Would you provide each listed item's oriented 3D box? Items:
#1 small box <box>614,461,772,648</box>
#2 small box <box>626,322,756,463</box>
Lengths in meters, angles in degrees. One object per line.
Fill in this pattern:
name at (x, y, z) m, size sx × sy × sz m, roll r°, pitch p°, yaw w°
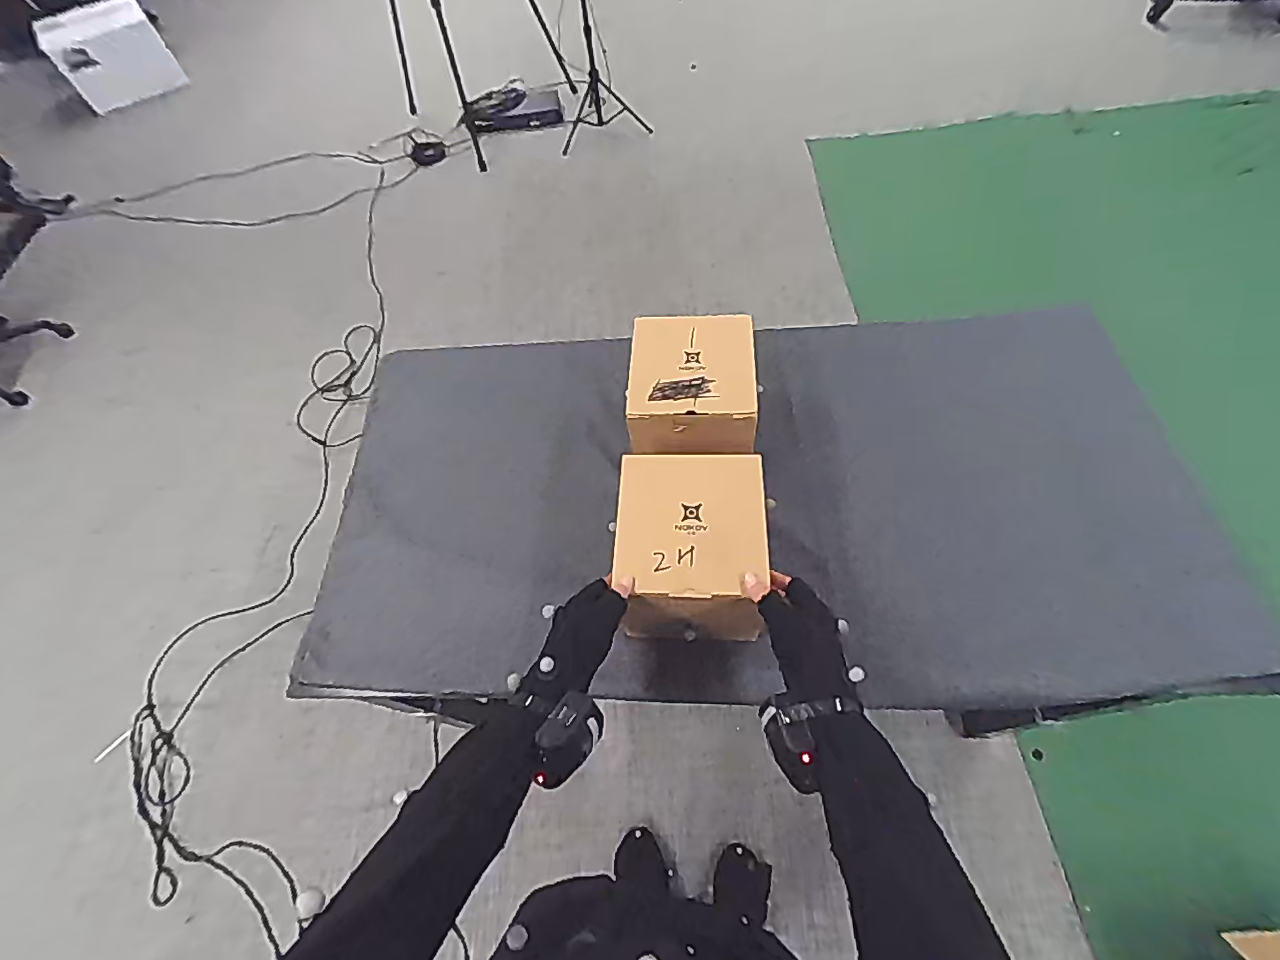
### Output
small box at (0.064, 0.094, 0.665) m, size 0.168 × 0.176 × 0.179 m, roll 0°, pitch 59°, yaw 6°
small box at (0.077, -0.103, 0.781) m, size 0.168 × 0.176 × 0.179 m, roll 1°, pitch 59°, yaw 6°
